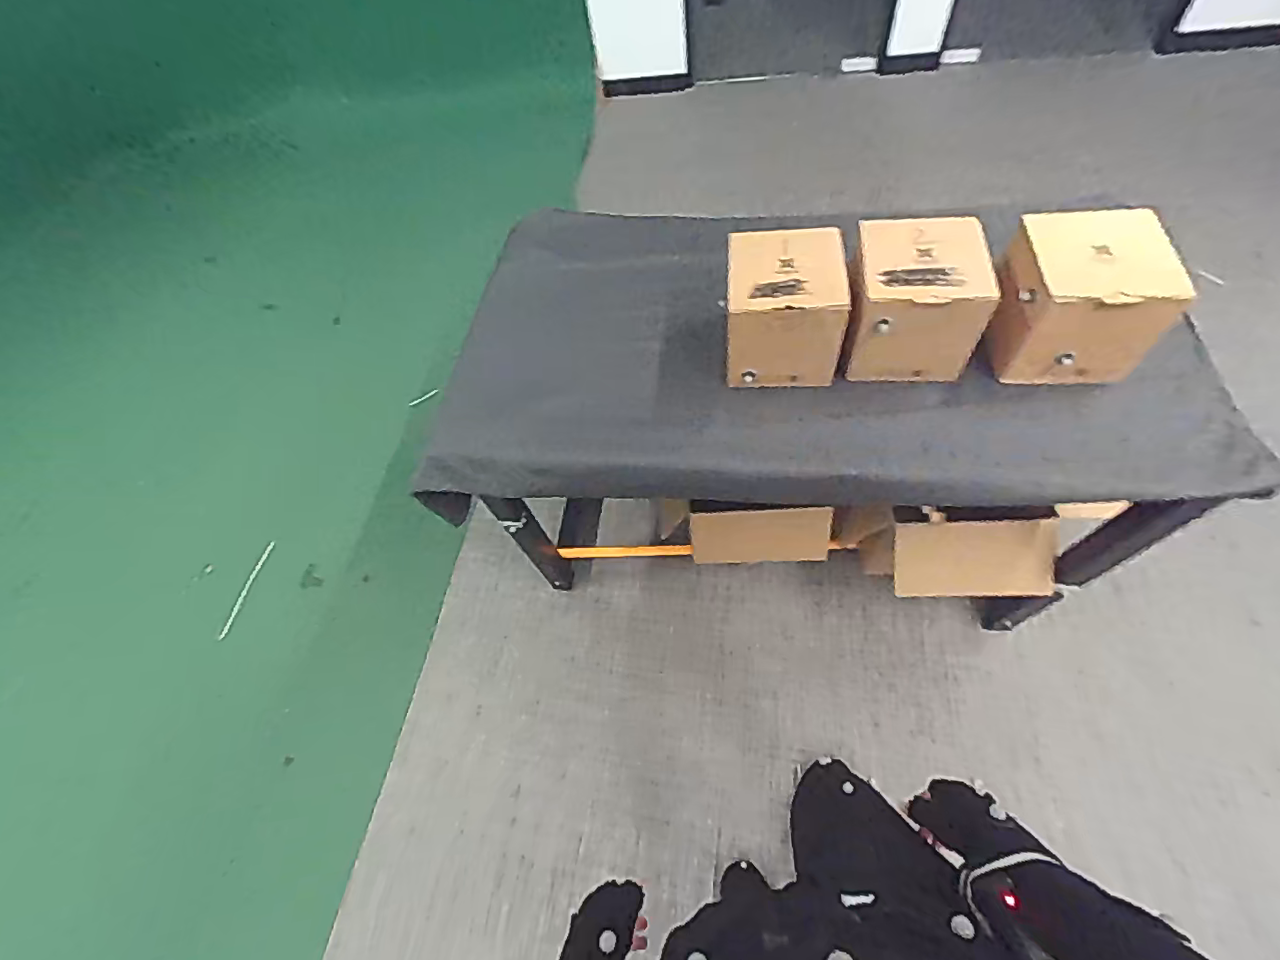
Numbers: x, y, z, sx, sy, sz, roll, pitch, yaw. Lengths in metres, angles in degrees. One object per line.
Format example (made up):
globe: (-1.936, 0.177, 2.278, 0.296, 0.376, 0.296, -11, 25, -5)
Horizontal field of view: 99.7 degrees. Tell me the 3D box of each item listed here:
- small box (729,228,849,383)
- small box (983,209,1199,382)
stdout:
small box: (0.228, -0.268, 0.861, 0.168, 0.176, 0.179, 1, 60, 9)
small box: (0.634, -0.266, 0.793, 0.168, 0.176, 0.179, 1, 61, 10)
